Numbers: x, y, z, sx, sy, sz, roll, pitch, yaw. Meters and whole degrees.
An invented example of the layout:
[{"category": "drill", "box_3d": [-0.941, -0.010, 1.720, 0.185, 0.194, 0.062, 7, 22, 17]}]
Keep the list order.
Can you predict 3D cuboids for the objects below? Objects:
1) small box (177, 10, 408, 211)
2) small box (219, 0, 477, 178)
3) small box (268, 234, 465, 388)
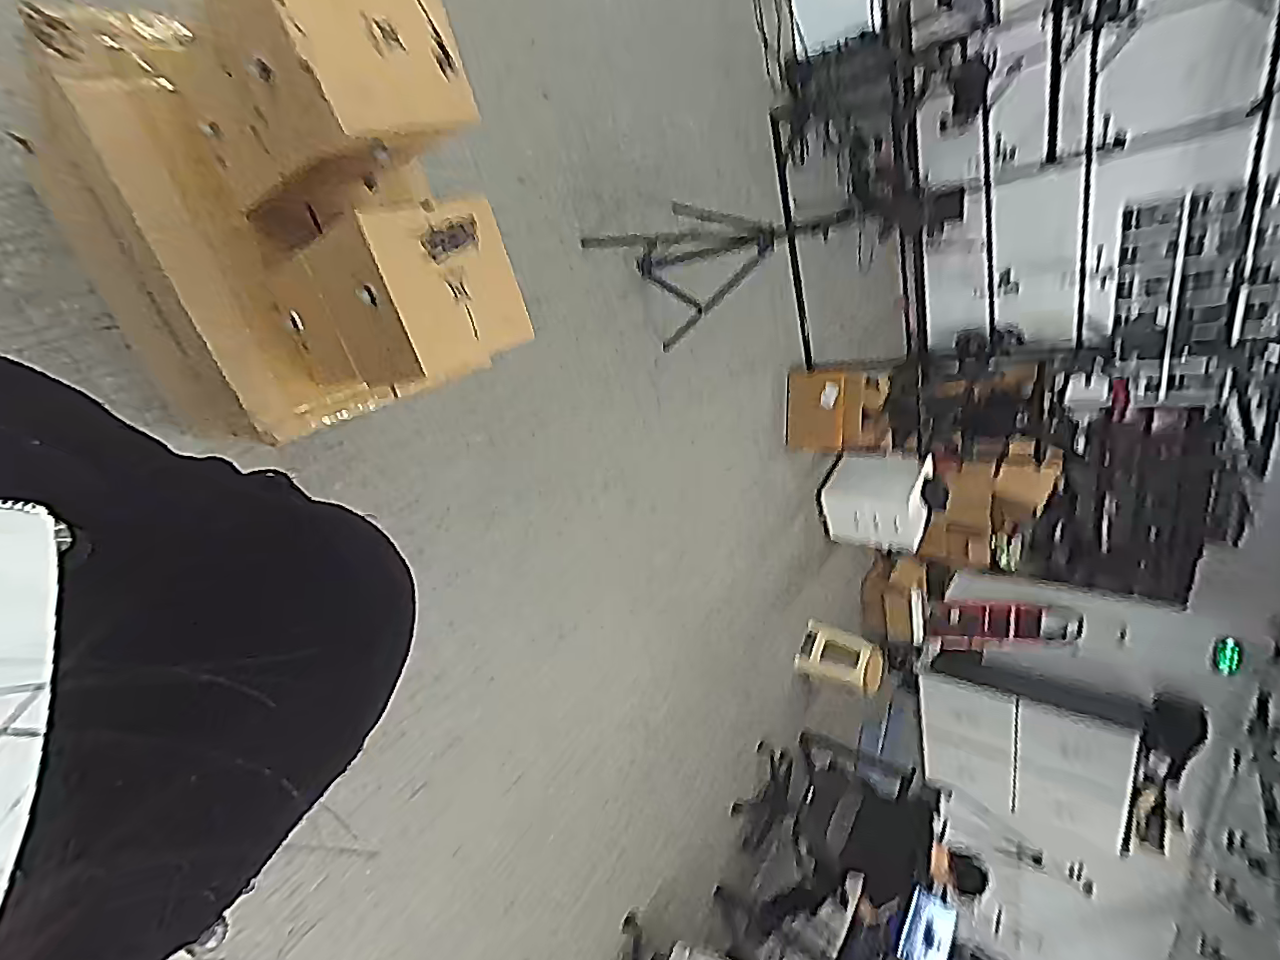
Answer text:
[{"category": "small box", "box_3d": [-0.446, -0.464, 0.702, 0.179, 0.176, 0.168, -38, 122, -39]}, {"category": "small box", "box_3d": [-0.322, -0.452, 0.595, 0.179, 0.176, 0.168, -39, 122, -38]}, {"category": "small box", "box_3d": [-0.396, -0.241, 0.788, 0.179, 0.176, 0.168, -36, 117, -39]}]
